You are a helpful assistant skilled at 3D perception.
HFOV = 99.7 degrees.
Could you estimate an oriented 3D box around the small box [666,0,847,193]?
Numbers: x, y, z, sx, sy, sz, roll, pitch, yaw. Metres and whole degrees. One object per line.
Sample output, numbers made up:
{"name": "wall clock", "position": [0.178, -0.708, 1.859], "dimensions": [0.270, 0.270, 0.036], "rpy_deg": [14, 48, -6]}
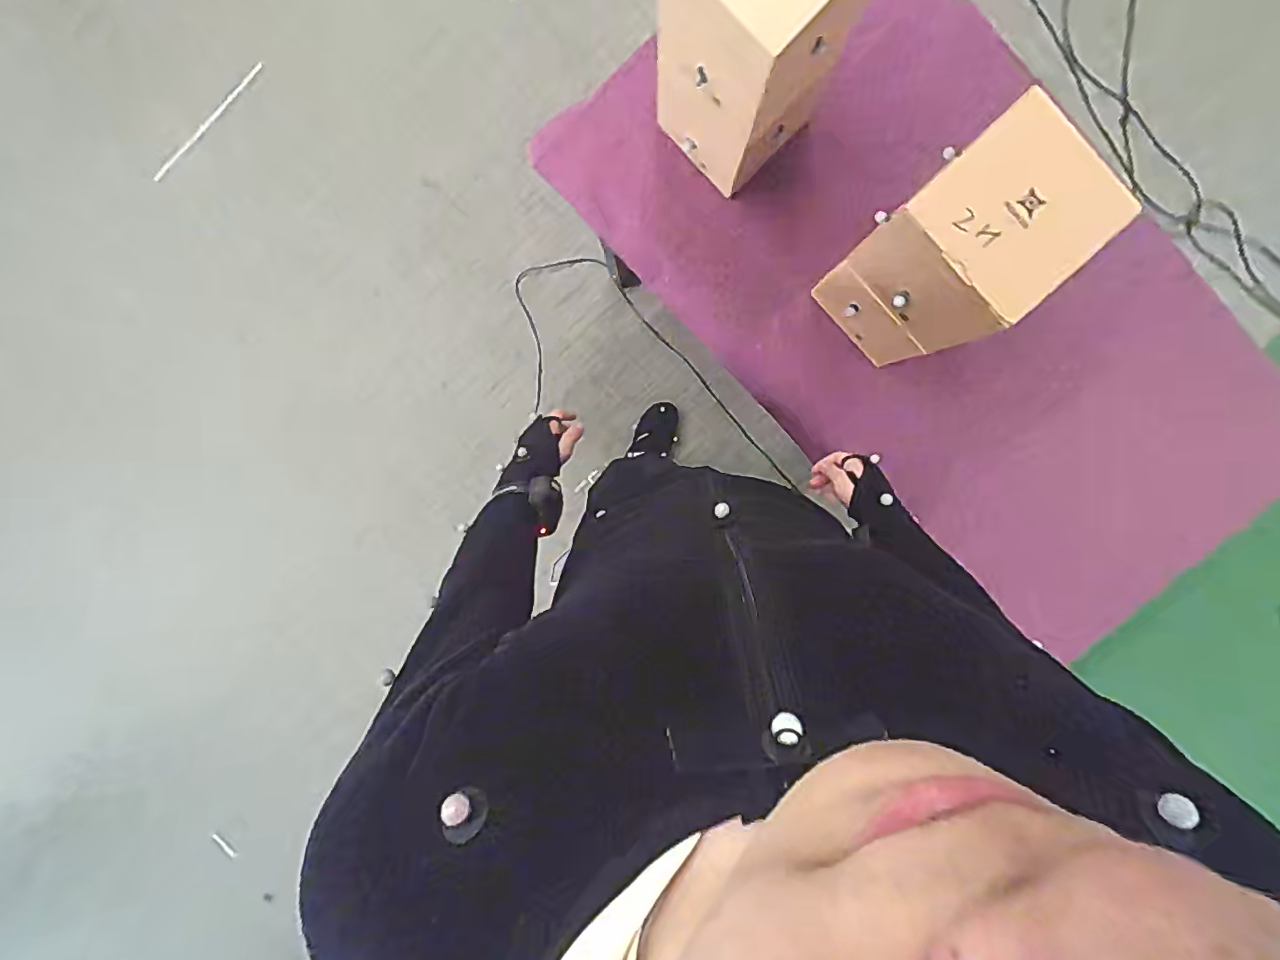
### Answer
{"name": "small box", "position": [0.148, -0.557, 0.766], "dimensions": [0.179, 0.176, 0.168], "rpy_deg": [-44, 92, 5]}

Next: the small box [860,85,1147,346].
{"name": "small box", "position": [0.393, -0.281, 0.621], "dimensions": [0.179, 0.176, 0.168], "rpy_deg": [-42, 92, 4]}

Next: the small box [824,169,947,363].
{"name": "small box", "position": [0.392, -0.292, 0.785], "dimensions": [0.179, 0.176, 0.168], "rpy_deg": [-43, 92, 4]}
